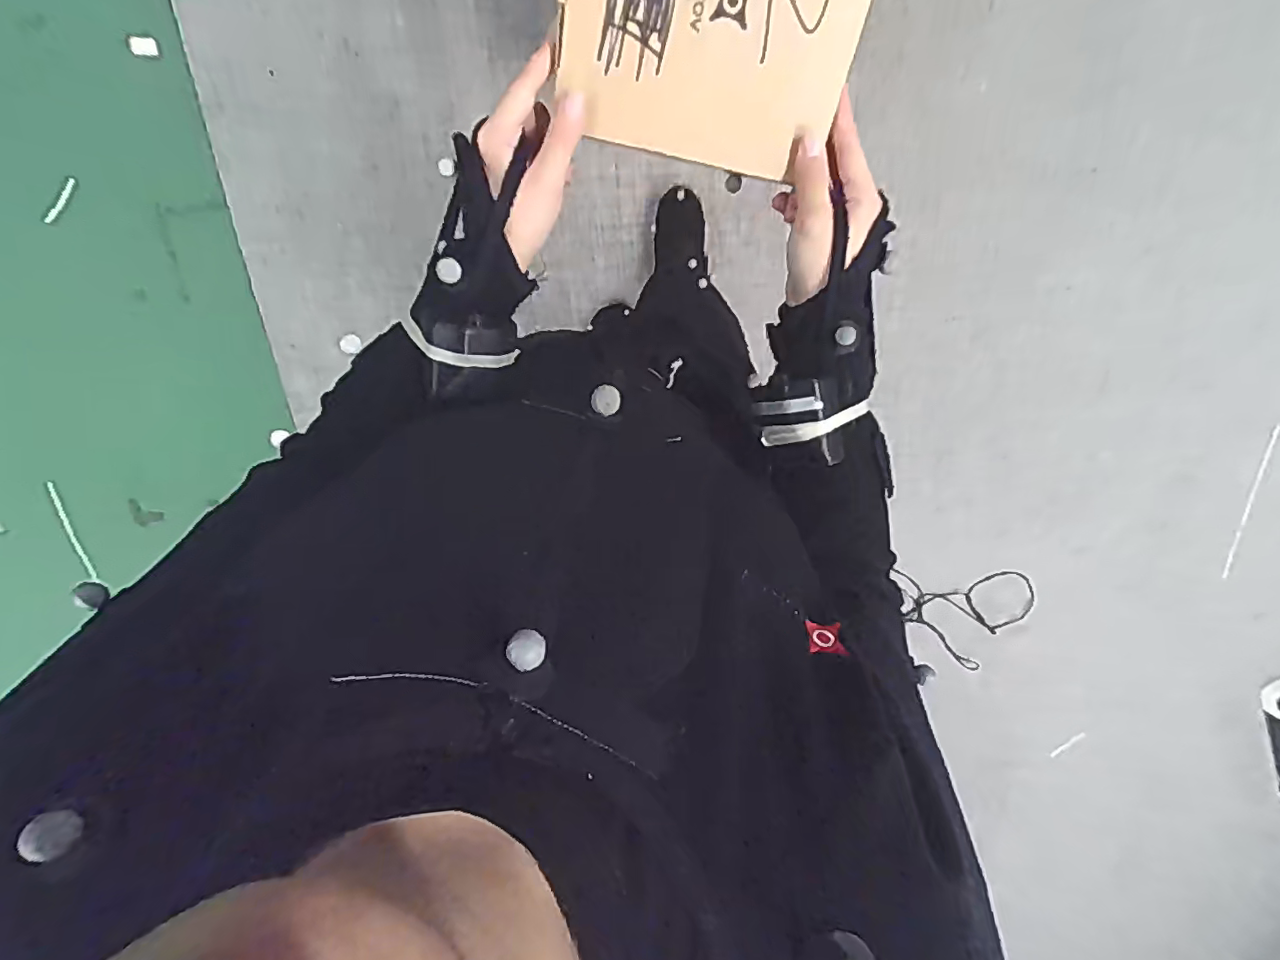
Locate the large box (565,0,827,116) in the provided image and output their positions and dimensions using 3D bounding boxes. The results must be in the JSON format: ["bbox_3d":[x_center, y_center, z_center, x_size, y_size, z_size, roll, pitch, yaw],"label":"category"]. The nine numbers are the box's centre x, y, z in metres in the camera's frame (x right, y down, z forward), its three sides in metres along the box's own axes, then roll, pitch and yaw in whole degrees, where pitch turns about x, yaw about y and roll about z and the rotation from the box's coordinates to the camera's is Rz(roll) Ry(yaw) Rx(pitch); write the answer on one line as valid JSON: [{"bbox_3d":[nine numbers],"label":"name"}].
[{"bbox_3d":[0.080,-0.846,0.920,0.408,0.320,0.320,1,112,-4],"label":"large box"}]

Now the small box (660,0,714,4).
[{"bbox_3d":[0.049,-0.753,0.694,0.179,0.176,0.168,3,110,-3],"label":"small box"}]
